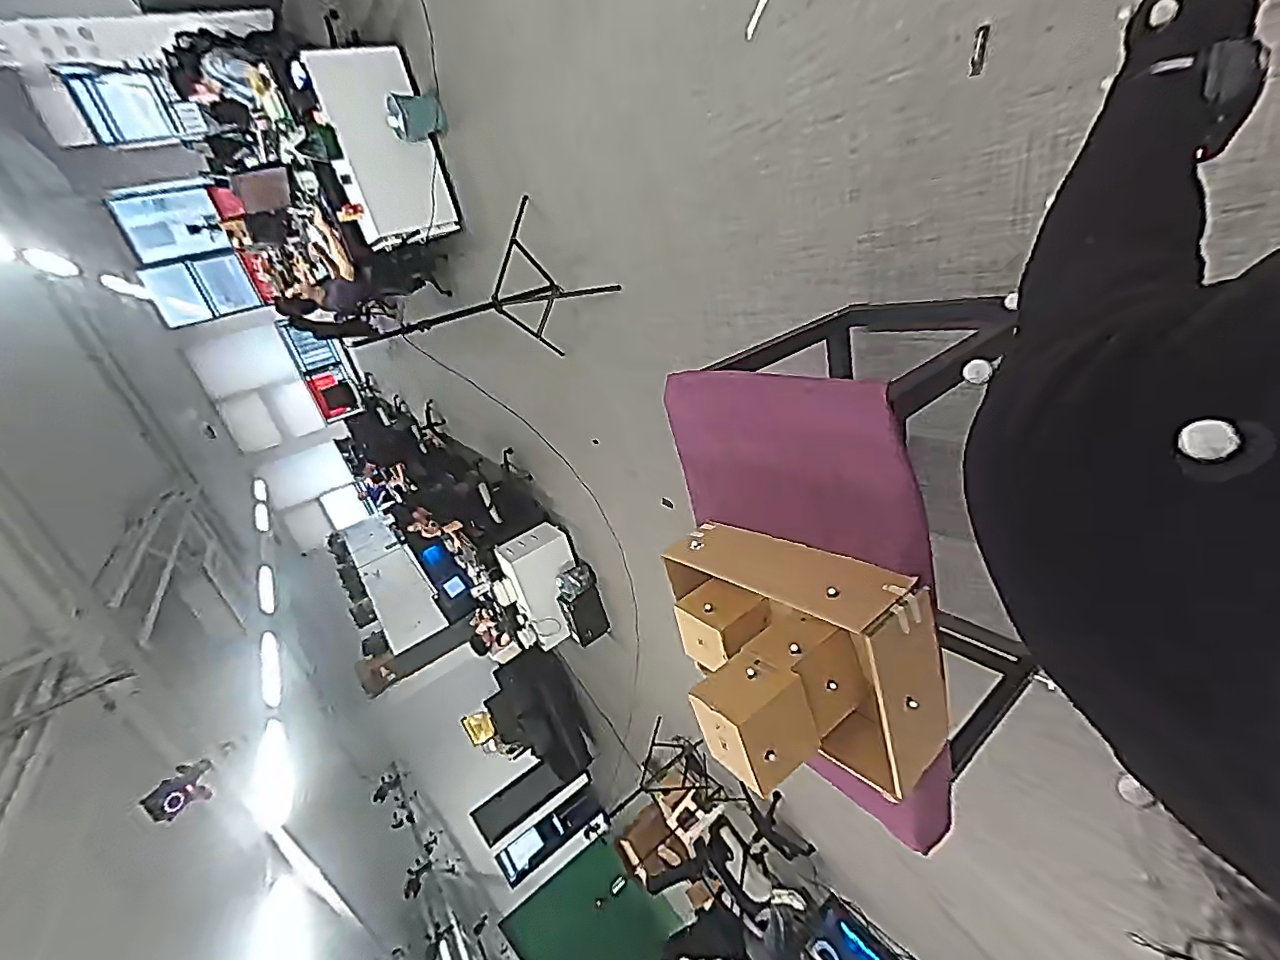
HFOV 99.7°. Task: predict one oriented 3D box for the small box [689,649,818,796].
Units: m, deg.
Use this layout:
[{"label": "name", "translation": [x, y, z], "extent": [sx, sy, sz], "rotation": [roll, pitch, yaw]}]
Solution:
[{"label": "small box", "translation": [0.233, 0.480, 1.097], "extent": [0.168, 0.176, 0.179], "rotation": [7, 120, 61]}]
